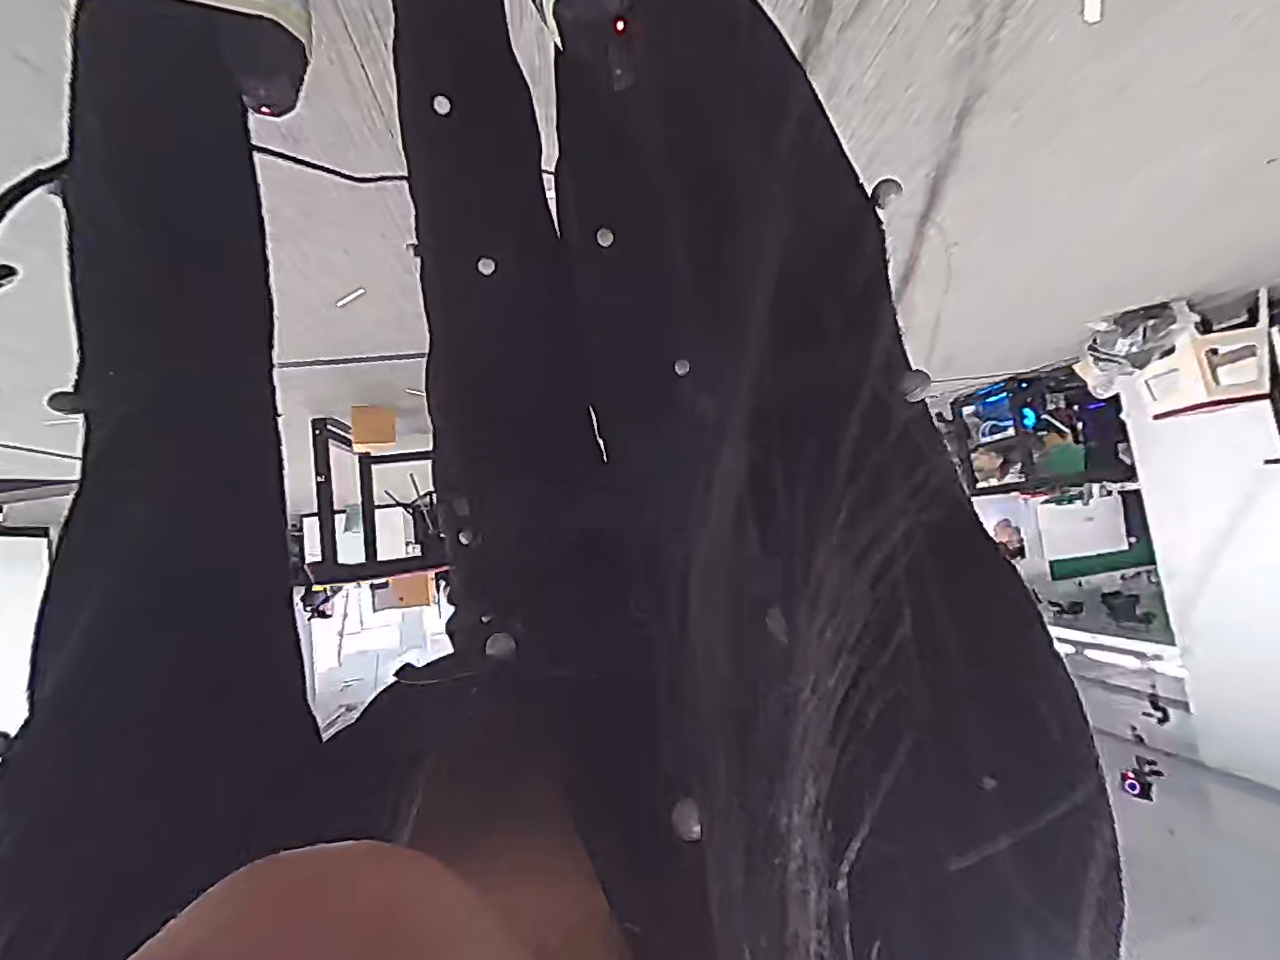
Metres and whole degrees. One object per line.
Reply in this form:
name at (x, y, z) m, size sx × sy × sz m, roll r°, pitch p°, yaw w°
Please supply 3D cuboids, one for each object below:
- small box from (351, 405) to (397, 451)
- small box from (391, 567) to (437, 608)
small box at (-1.194, -0.233, 2.422) m, size 0.179 × 0.176 × 0.168 m, roll -6°, pitch 173°, yaw -26°
small box at (-1.090, 0.513, 2.601) m, size 0.179 × 0.176 × 0.168 m, roll -7°, pitch 175°, yaw -11°
